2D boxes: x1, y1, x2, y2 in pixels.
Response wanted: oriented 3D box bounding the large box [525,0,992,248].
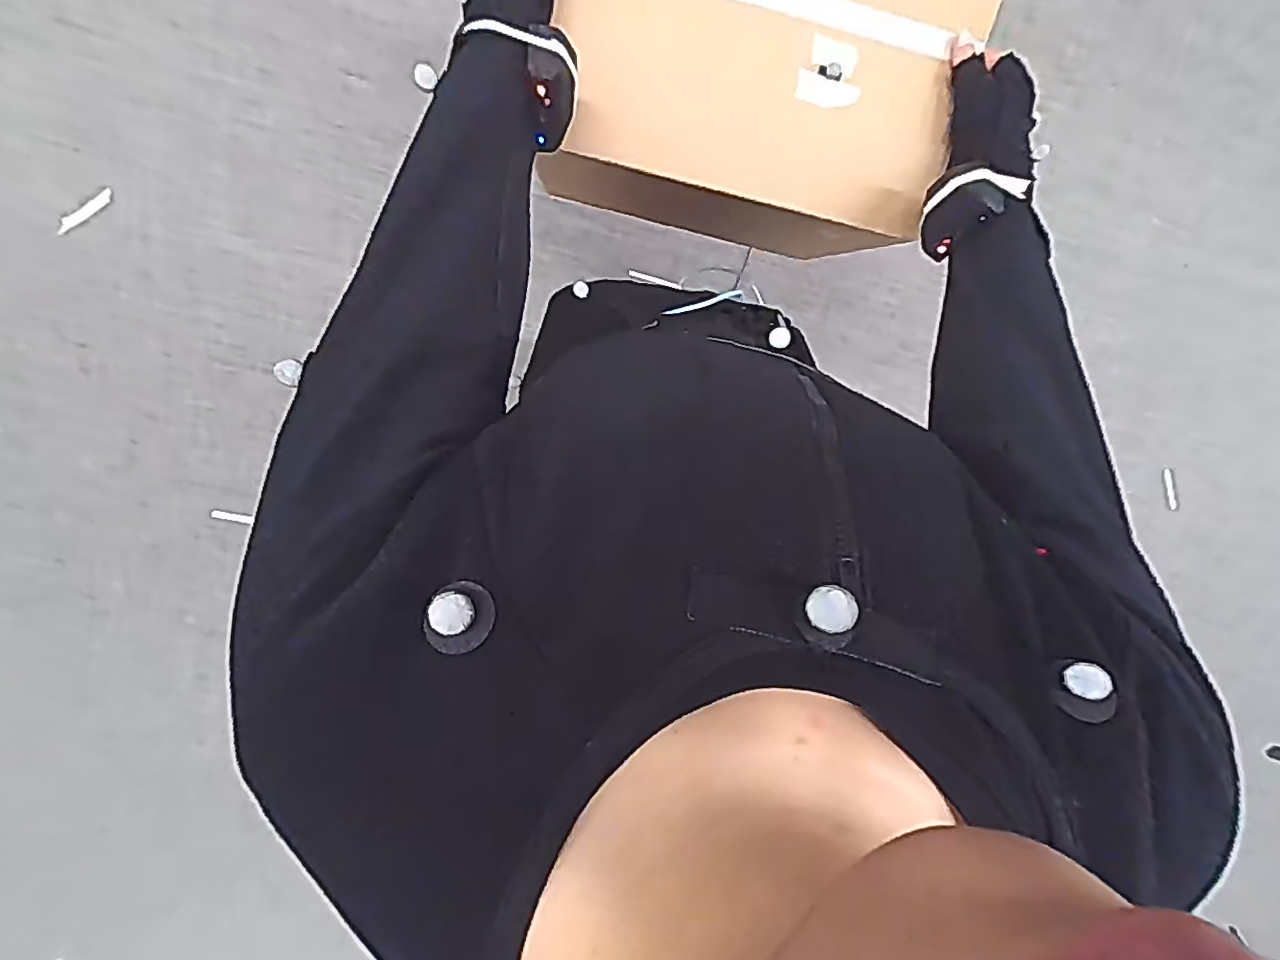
[{"bbox_3d":[0.103,-0.480,0.617,0.408,0.320,0.320,11,109,-9],"label":"large box"}]
